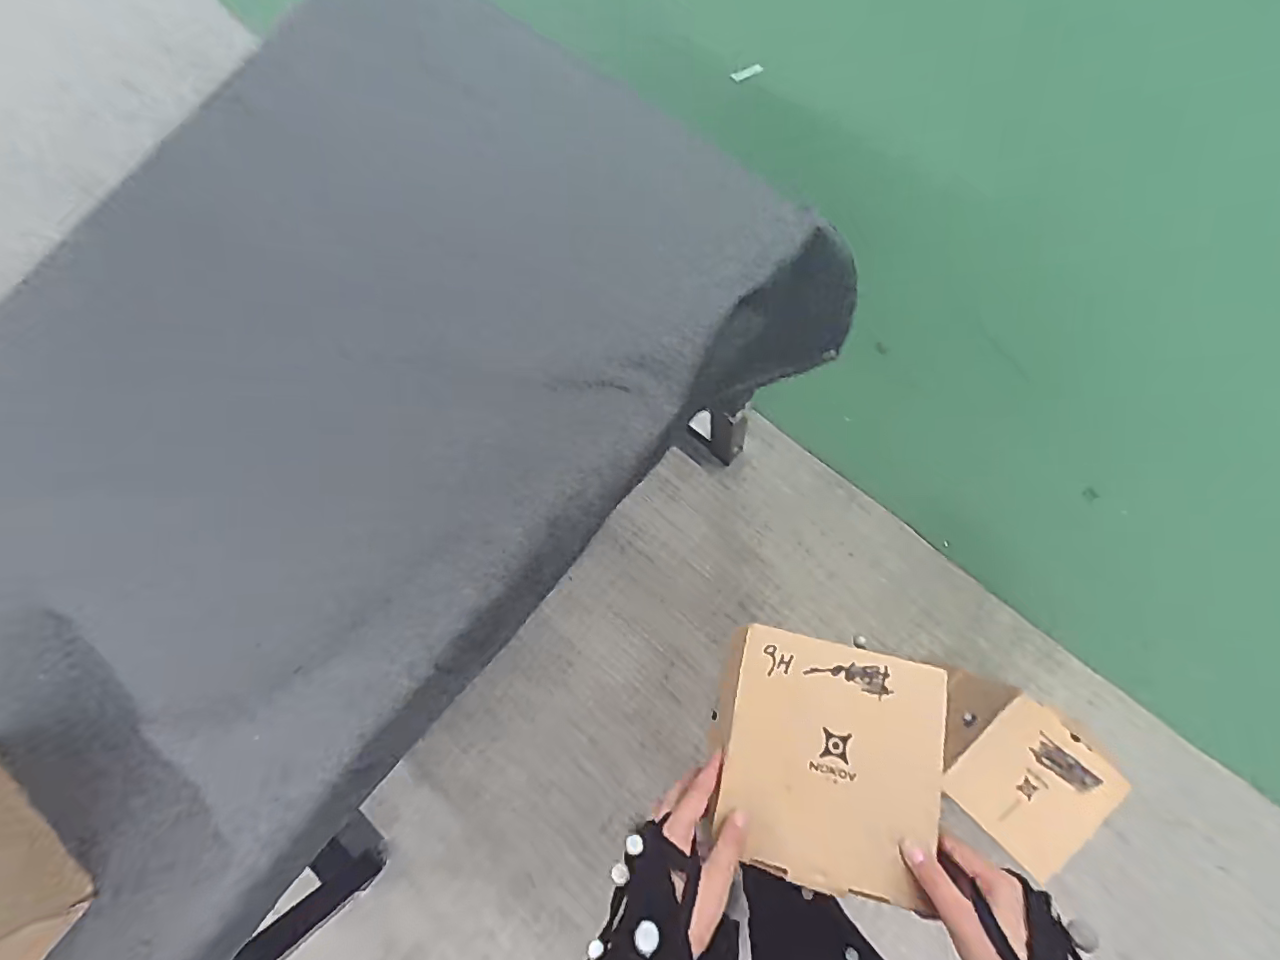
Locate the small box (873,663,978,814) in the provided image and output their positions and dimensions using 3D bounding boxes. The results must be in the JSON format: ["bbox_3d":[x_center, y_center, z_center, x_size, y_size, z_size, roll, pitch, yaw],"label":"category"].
[{"bbox_3d":[0.540,0.443,0.941,0.179,0.176,0.168,-45,76,-2],"label":"small box"}]

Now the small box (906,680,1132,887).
[{"bbox_3d":[0.523,0.415,0.780,0.179,0.176,0.168,-45,75,-3],"label":"small box"}]
